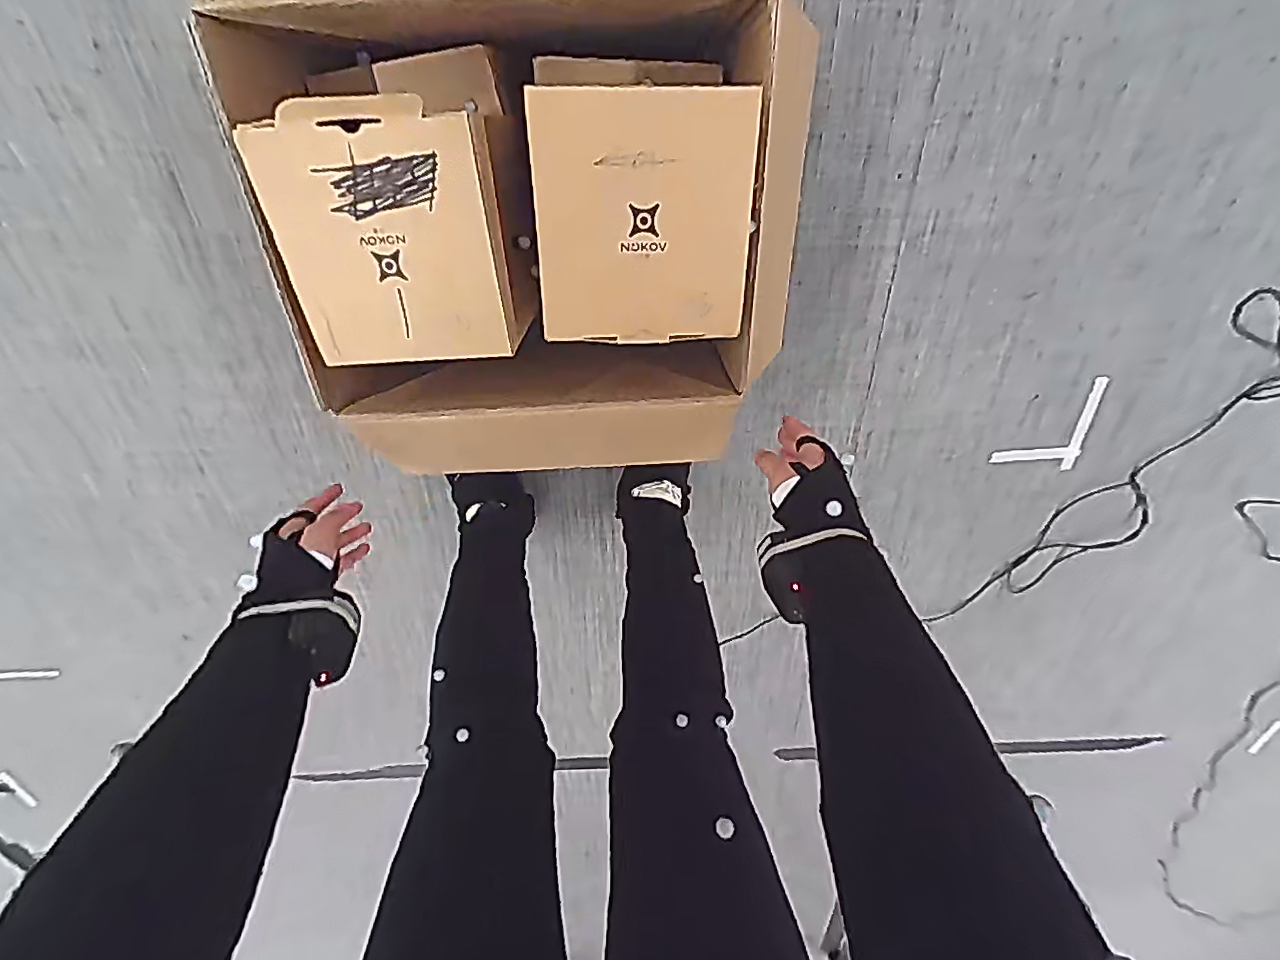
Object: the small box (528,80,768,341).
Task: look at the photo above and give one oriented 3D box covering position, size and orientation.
[{"bbox_3d":[0.001,-0.233,0.473,0.168,0.176,0.179,-3,120,-4],"label":"small box"}]
